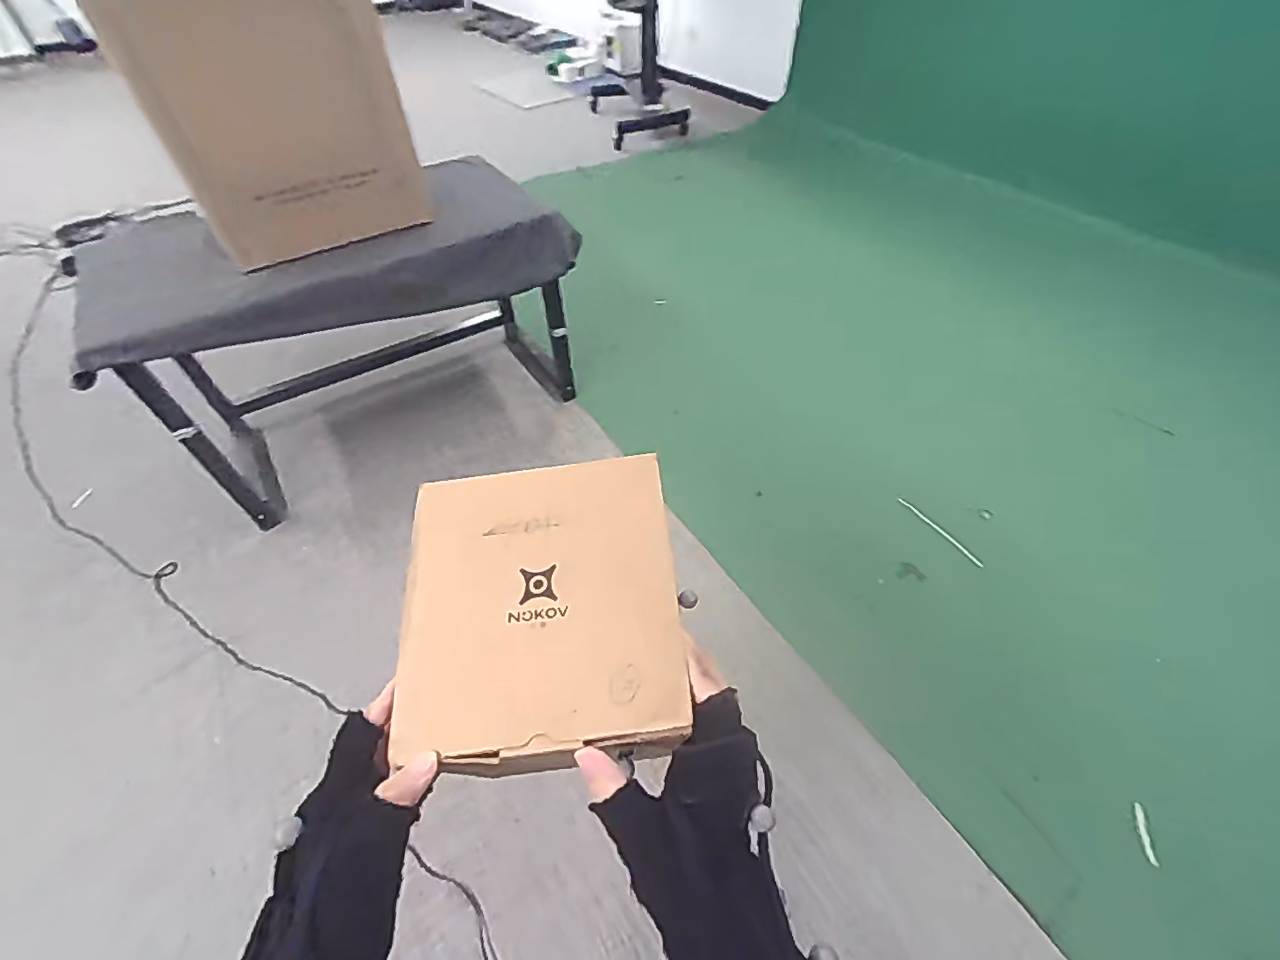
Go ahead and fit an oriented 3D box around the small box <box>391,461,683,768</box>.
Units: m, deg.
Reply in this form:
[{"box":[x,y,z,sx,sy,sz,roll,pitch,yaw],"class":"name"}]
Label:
[{"box":[-0.060,0.111,0.407,0.168,0.176,0.179,-8,58,0],"class":"small box"}]
